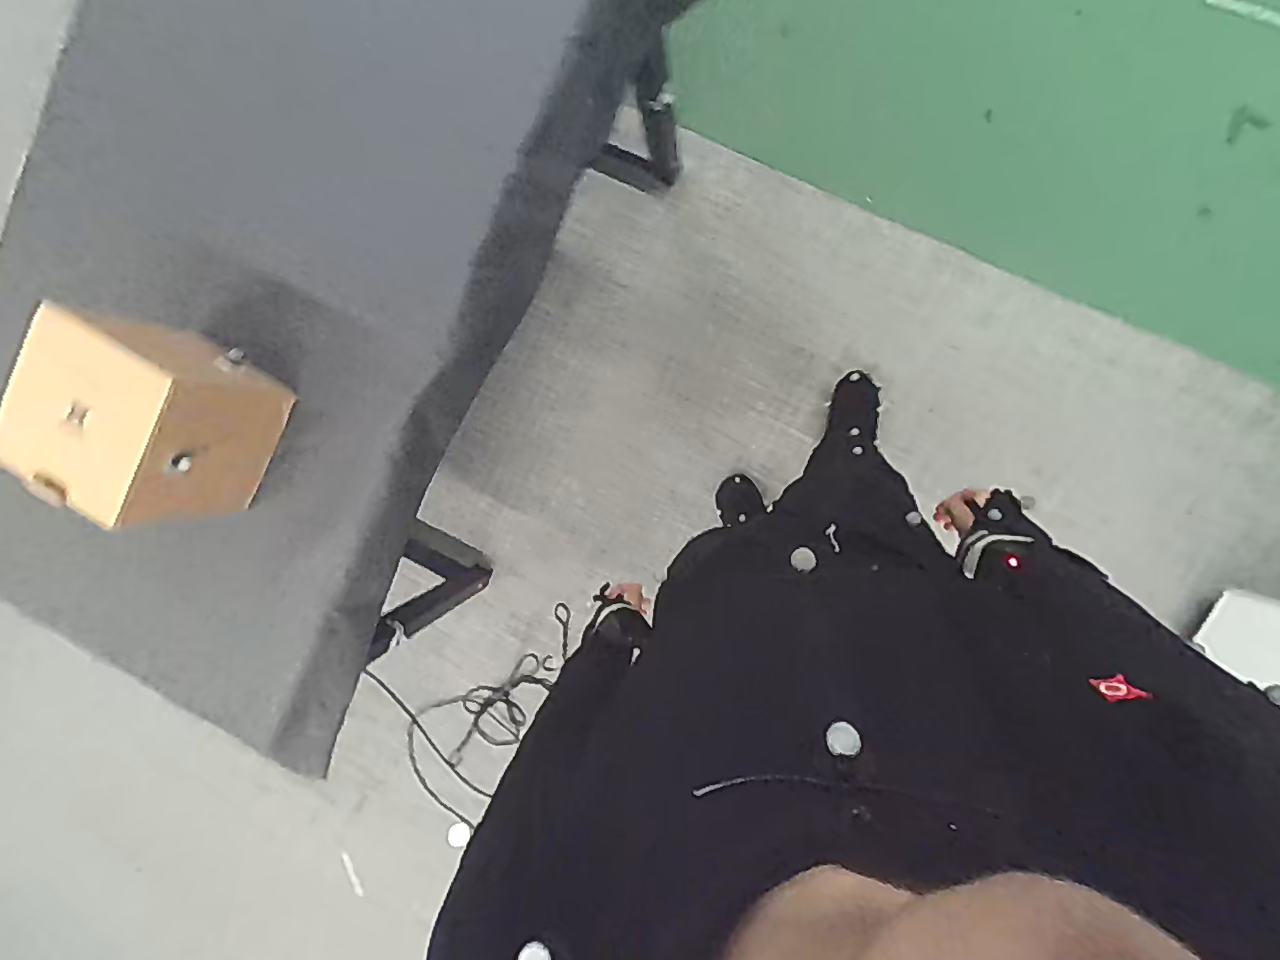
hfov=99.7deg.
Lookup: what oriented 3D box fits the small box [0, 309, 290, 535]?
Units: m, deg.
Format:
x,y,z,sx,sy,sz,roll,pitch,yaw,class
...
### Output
x,y,z,sx,sy,sz,roll,pitch,yaw,class
-0.551,-0.062,0.618,0.168,0.176,0.179,28,96,4,small box
